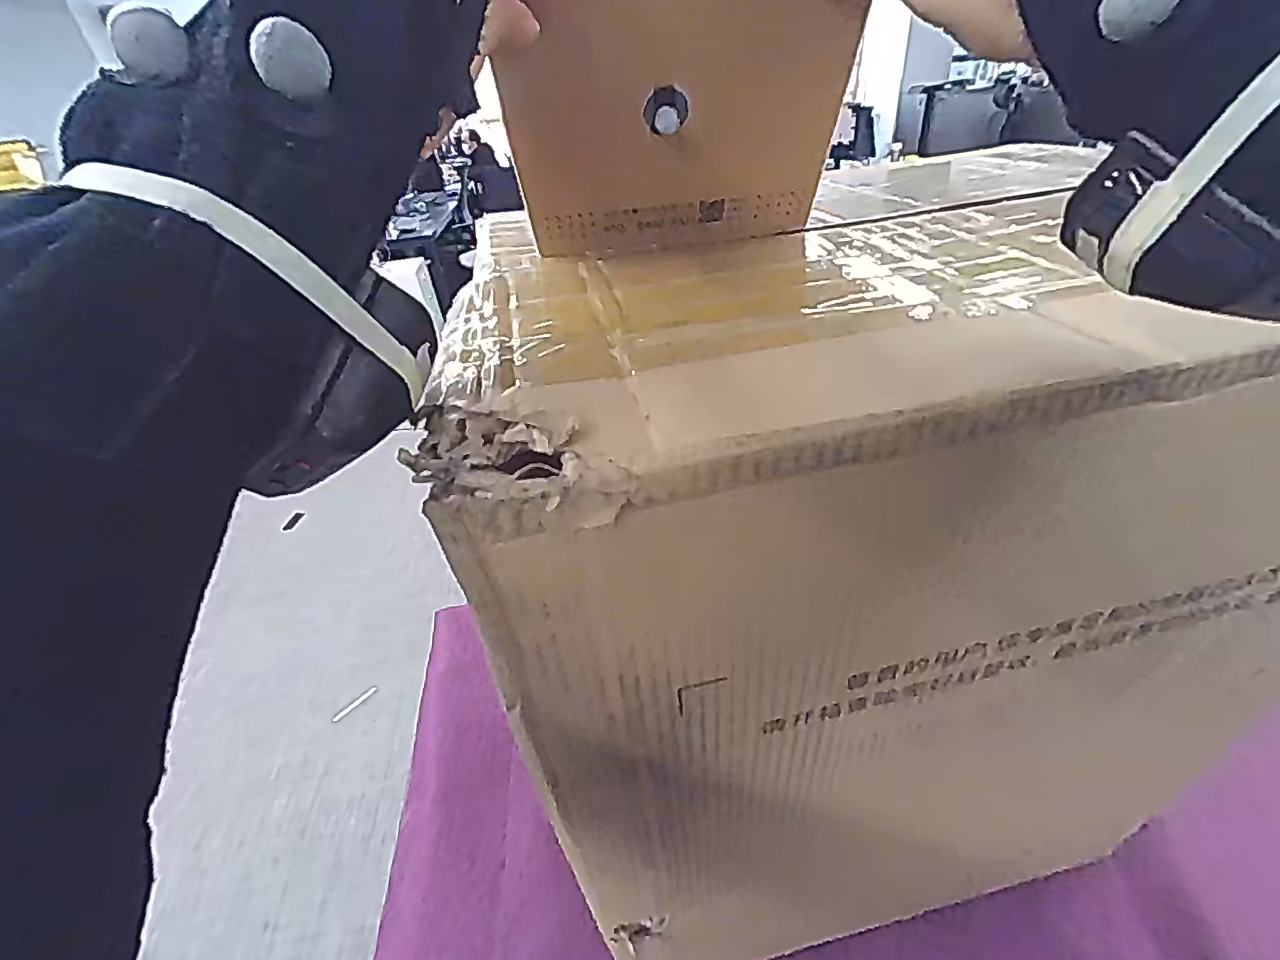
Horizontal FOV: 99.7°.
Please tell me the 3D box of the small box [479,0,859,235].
[{"bbox_3d":[0.011,-0.255,0.291,0.168,0.176,0.179,-6,65,-1],"label":"small box"}]
